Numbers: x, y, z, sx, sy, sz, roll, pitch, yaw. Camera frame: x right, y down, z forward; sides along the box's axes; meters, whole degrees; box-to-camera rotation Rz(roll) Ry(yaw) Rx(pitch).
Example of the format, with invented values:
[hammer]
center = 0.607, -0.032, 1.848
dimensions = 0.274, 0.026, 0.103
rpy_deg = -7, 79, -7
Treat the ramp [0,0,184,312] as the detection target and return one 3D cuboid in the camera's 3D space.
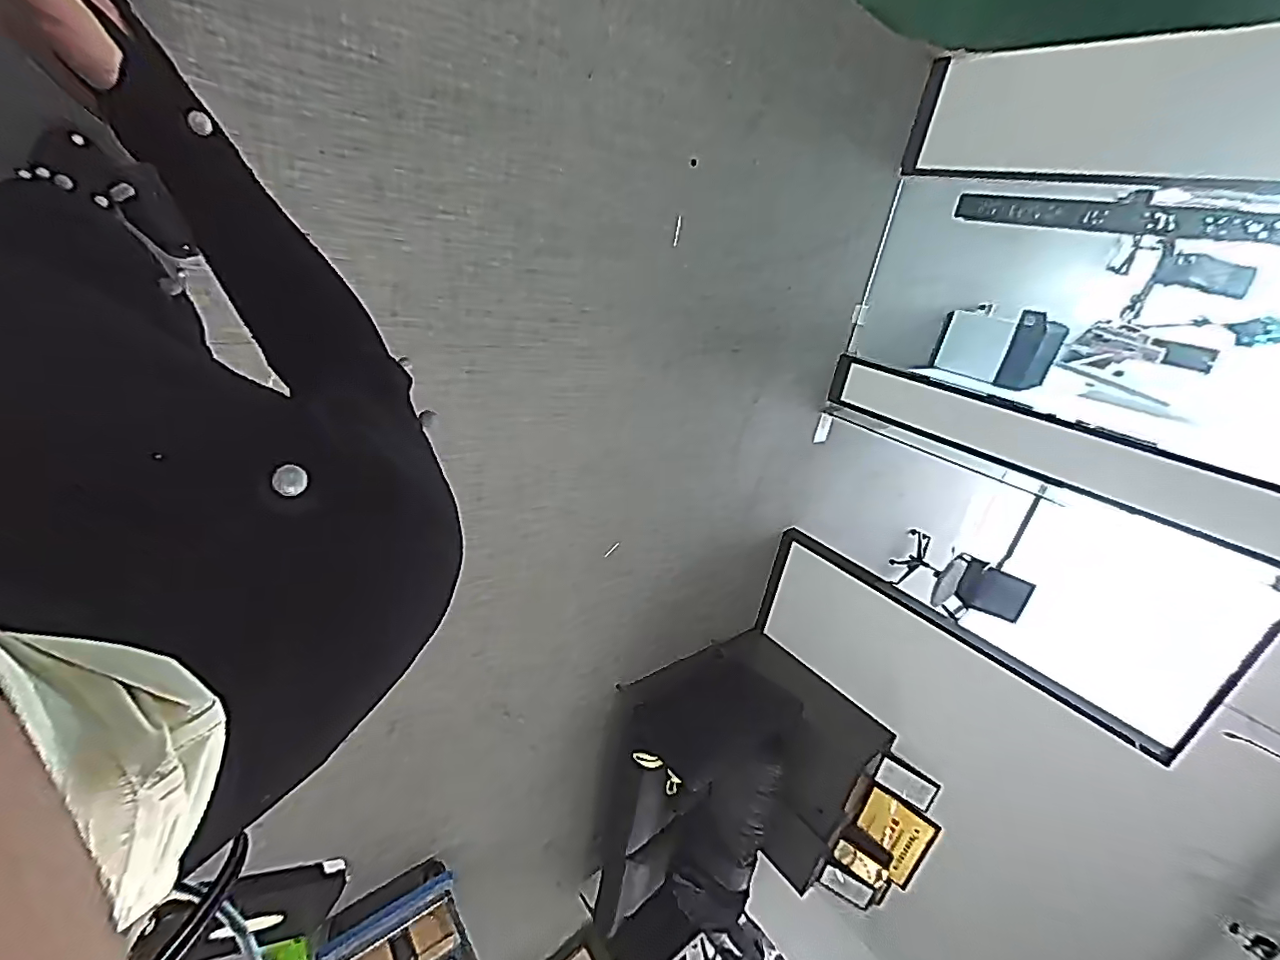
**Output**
[ramp]
center = -1.110, -0.749, 0.841
dimensions = 0.509, 0.206, 0.991
rpy_deg = -14, 125, -38
